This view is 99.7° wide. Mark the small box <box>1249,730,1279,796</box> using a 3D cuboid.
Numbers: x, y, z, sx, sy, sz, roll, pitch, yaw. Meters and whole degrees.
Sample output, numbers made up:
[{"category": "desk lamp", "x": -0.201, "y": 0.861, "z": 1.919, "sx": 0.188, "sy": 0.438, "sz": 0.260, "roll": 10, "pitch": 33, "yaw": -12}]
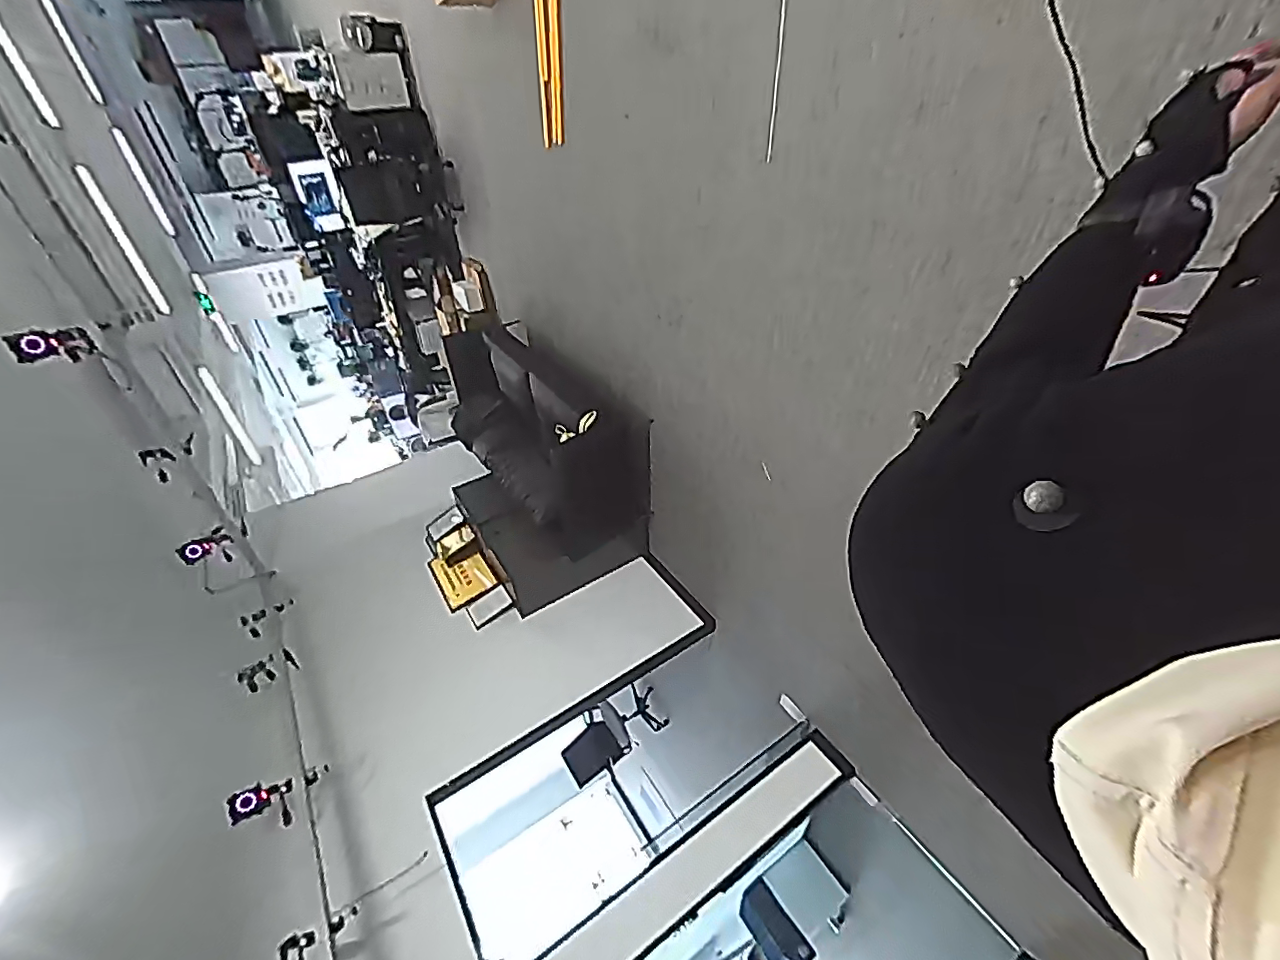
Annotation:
[{"category": "small box", "x": 1.535, "y": 0.639, "z": 1.191, "sx": 0.179, "sy": 0.176, "sz": 0.168, "roll": 42, "pitch": 146, "yaw": 40}]
